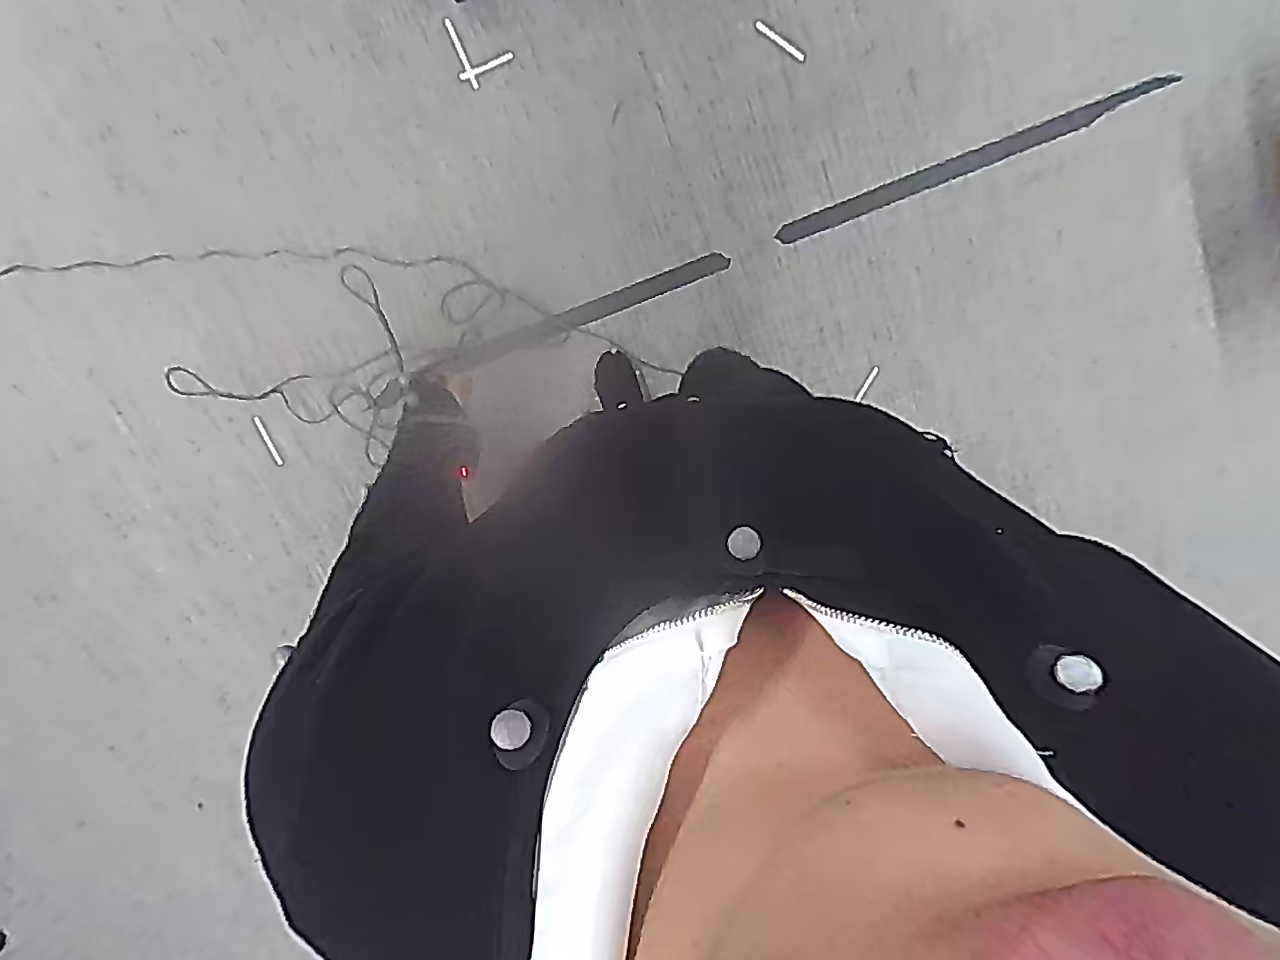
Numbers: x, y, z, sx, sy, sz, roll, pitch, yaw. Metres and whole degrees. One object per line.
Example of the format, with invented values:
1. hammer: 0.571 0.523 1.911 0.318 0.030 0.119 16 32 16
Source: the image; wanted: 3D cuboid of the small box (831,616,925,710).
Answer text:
1. small box: 0.657 0.499 1.509 0.168 0.176 0.179 -18 100 1
